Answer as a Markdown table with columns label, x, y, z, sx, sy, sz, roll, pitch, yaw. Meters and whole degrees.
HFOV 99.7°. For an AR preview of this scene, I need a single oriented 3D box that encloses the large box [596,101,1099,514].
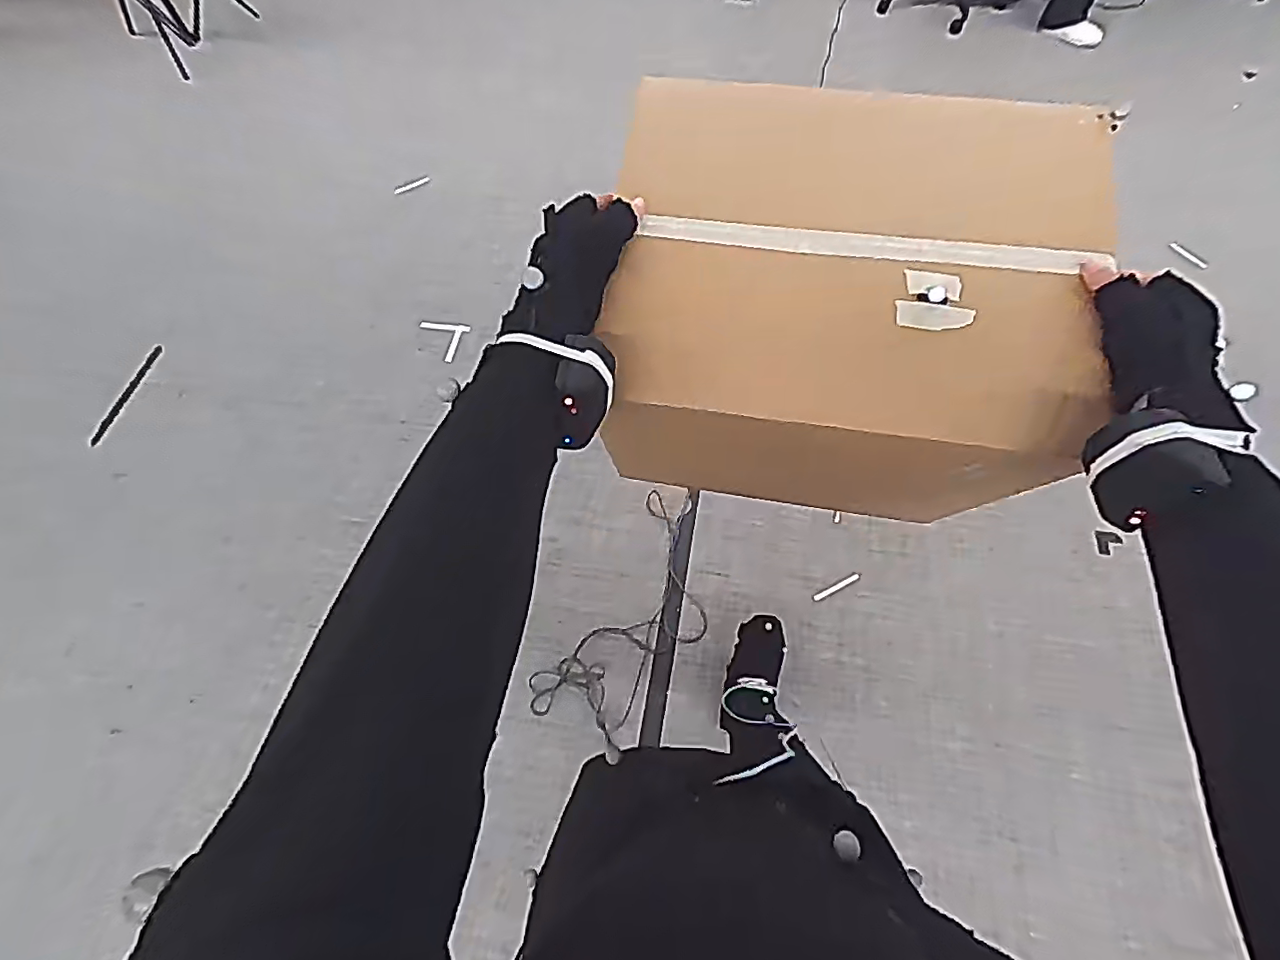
| label | x | y | z | sx | sy | sz | roll | pitch | yaw |
| --- | --- | --- | --- | --- | --- | --- | --- | --- | --- |
| large box | 0.188 | -0.158 | 0.609 | 0.408 | 0.320 | 0.320 | 8 | 79 | 6 |
